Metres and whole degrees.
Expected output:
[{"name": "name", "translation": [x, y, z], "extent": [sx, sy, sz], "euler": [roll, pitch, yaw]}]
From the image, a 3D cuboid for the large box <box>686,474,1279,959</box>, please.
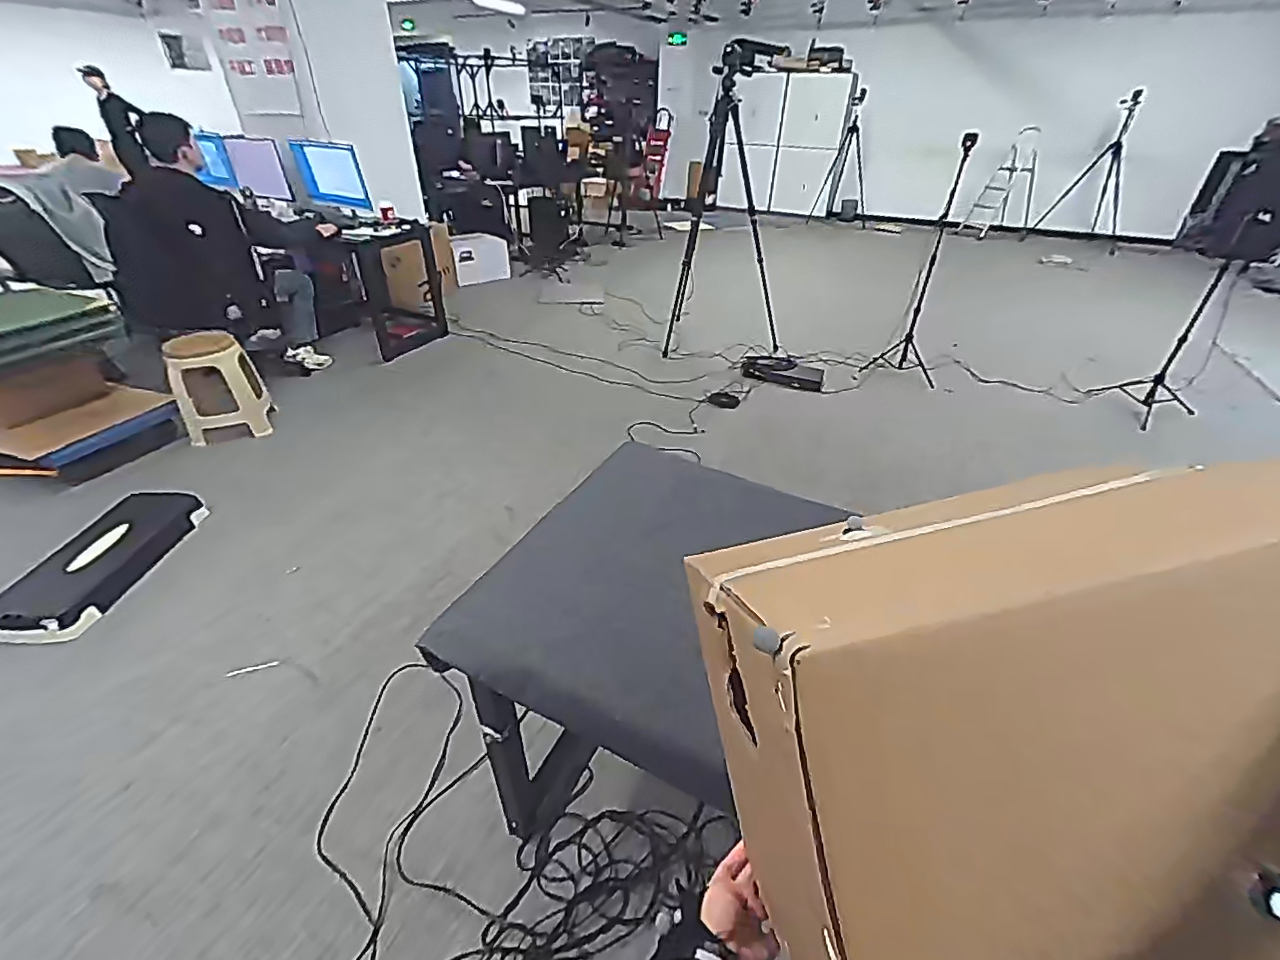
[{"name": "large box", "translation": [0.287, 0.192, 0.420], "extent": [0.408, 0.320, 0.320], "euler": [-14, 0, -5]}]
